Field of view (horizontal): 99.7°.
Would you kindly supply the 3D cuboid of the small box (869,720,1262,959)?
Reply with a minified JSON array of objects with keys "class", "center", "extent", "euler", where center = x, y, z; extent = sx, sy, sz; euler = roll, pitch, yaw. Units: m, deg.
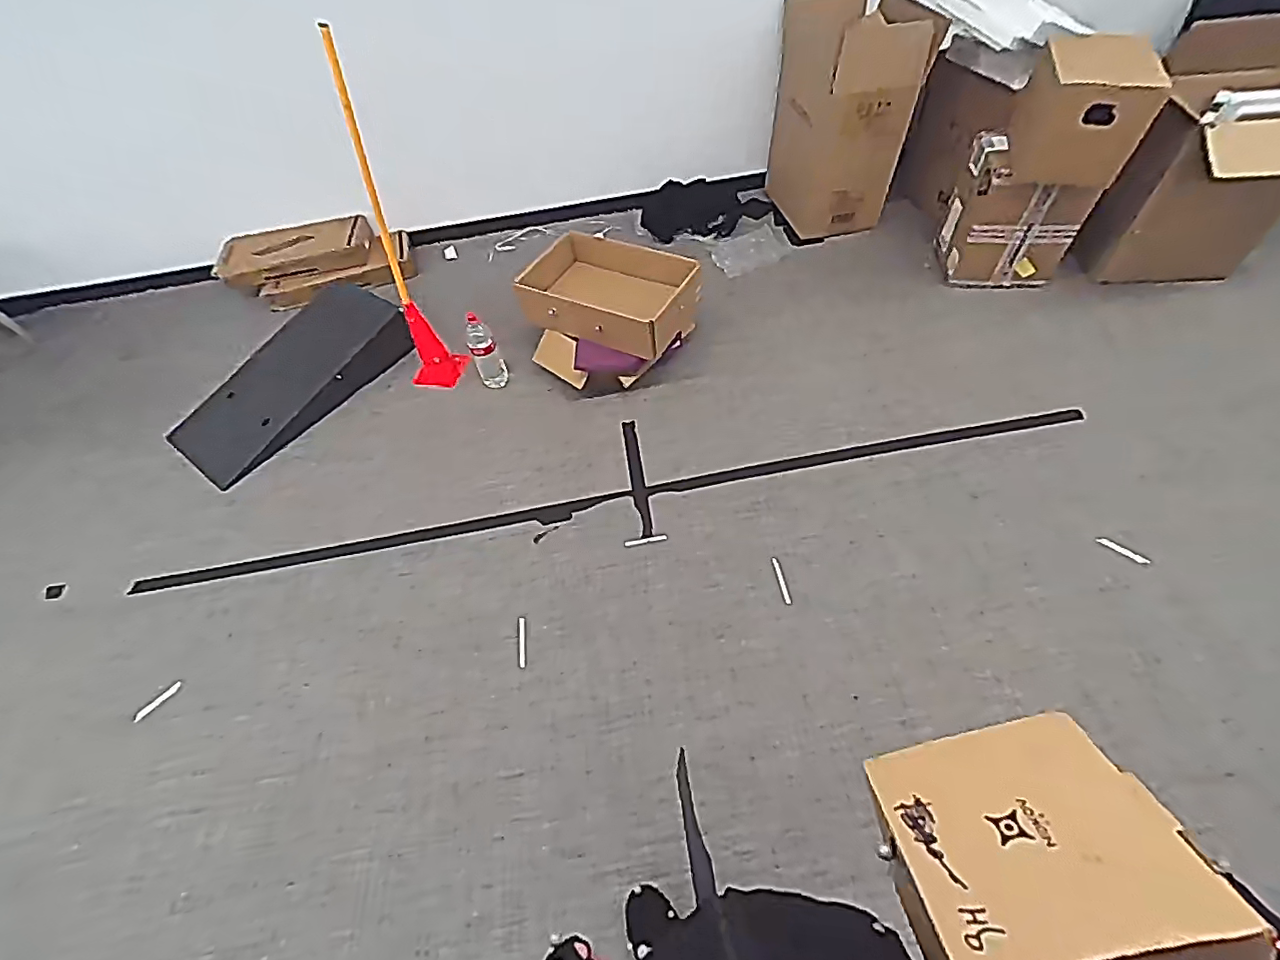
[{"class":"small box","center":[0.308,0.330,0.427],"extent":[0.179,0.176,0.168],"euler":[-17,19,7]}]
